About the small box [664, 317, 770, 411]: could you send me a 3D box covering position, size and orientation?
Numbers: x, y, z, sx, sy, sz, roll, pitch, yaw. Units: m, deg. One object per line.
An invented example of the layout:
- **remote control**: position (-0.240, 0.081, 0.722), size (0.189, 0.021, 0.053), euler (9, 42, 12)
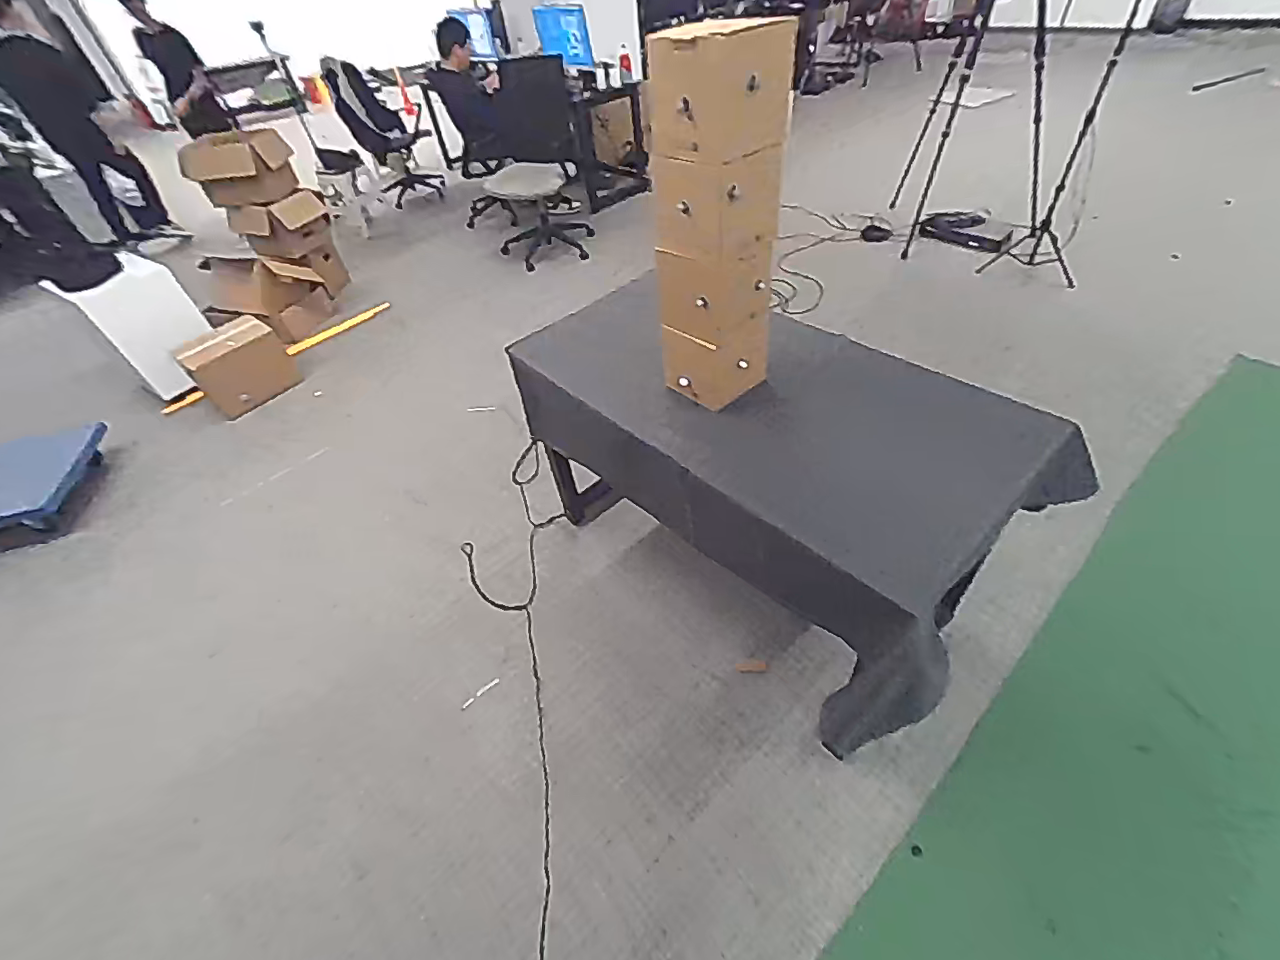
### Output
- **small box**: position (0.174, -0.289, 1.243), size (0.179, 0.176, 0.168), euler (-35, 50, -24)

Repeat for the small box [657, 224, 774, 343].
- **small box**: position (0.157, -0.408, 1.133), size (0.168, 0.176, 0.179), euler (-36, 50, -26)

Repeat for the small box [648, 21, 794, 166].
- **small box**: position (0.138, -0.652, 0.915), size (0.179, 0.176, 0.168), euler (-36, 50, -26)
